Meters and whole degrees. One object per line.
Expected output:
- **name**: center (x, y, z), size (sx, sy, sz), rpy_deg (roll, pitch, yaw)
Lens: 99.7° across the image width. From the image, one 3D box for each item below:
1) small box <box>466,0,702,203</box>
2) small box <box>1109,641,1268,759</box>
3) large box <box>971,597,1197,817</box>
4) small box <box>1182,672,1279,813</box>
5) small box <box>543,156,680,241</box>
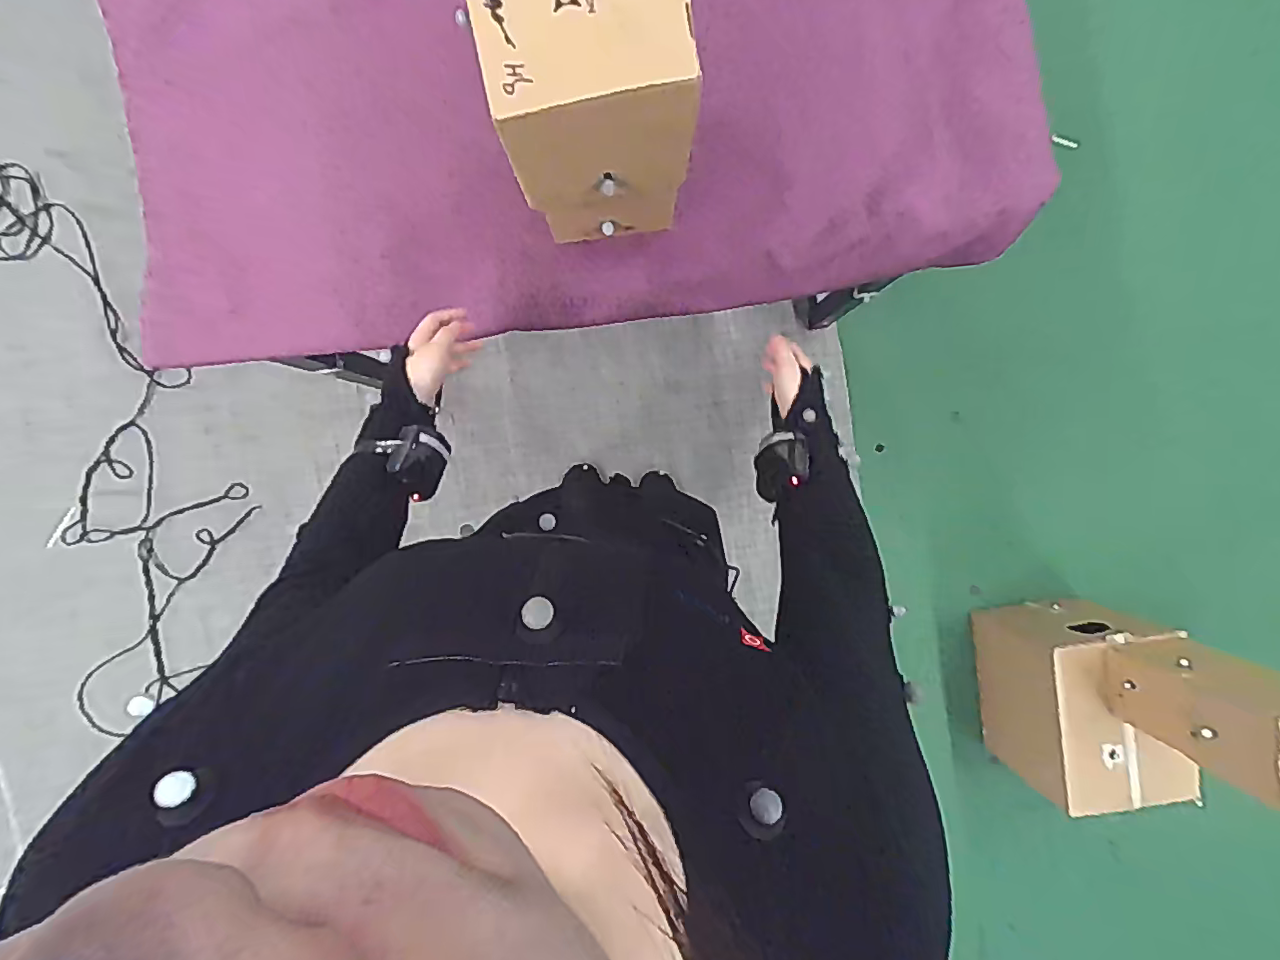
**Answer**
- **small box**: center (-0.052, -0.388, 0.502), size (0.179, 0.176, 0.168), rpy_deg (-11, 93, 0)
- **small box**: center (1.144, 0.453, 1.136), size (0.179, 0.176, 0.168), rpy_deg (-7, 93, 0)
- **large box**: center (1.105, 0.553, 1.383), size (0.320, 0.320, 0.408), rpy_deg (-7, 93, 0)
- **small box**: center (1.145, 0.463, 0.971), size (0.179, 0.176, 0.168), rpy_deg (-8, 93, 0)
- **small box**: center (-0.049, -0.423, 0.664), size (0.168, 0.176, 0.179), rpy_deg (-8, 92, 0)
